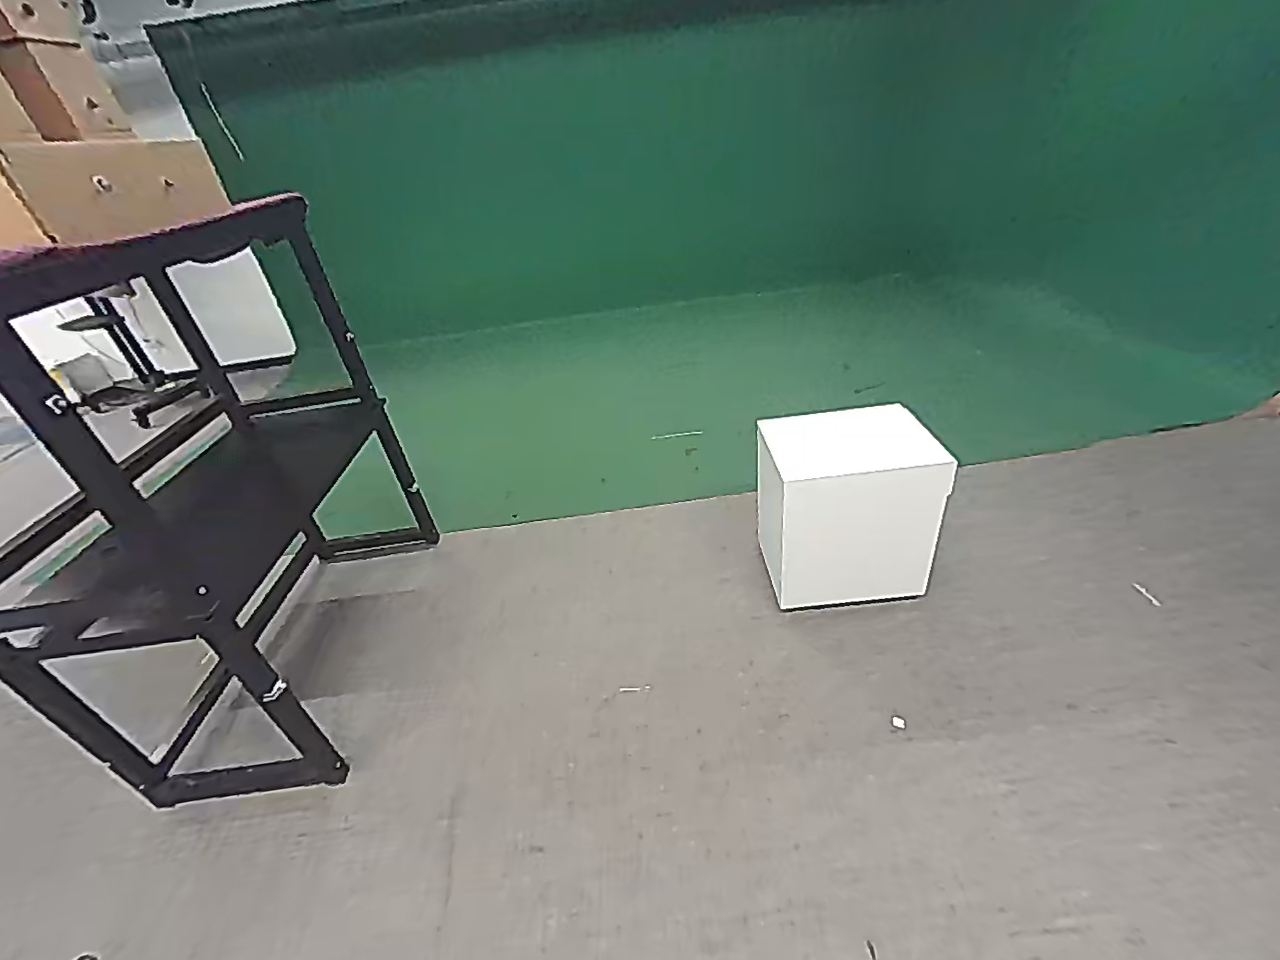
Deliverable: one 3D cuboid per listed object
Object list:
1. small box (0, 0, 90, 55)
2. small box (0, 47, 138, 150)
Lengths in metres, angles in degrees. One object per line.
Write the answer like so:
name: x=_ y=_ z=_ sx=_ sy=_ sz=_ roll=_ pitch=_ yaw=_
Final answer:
small box: x=-1.371 y=-1.005 z=1.155 sx=0.179 sy=0.176 sz=0.168 roll=-7 pitch=34 yaw=4
small box: x=-1.353 y=-0.879 z=1.257 sx=0.179 sy=0.176 sz=0.168 roll=-7 pitch=35 yaw=3
